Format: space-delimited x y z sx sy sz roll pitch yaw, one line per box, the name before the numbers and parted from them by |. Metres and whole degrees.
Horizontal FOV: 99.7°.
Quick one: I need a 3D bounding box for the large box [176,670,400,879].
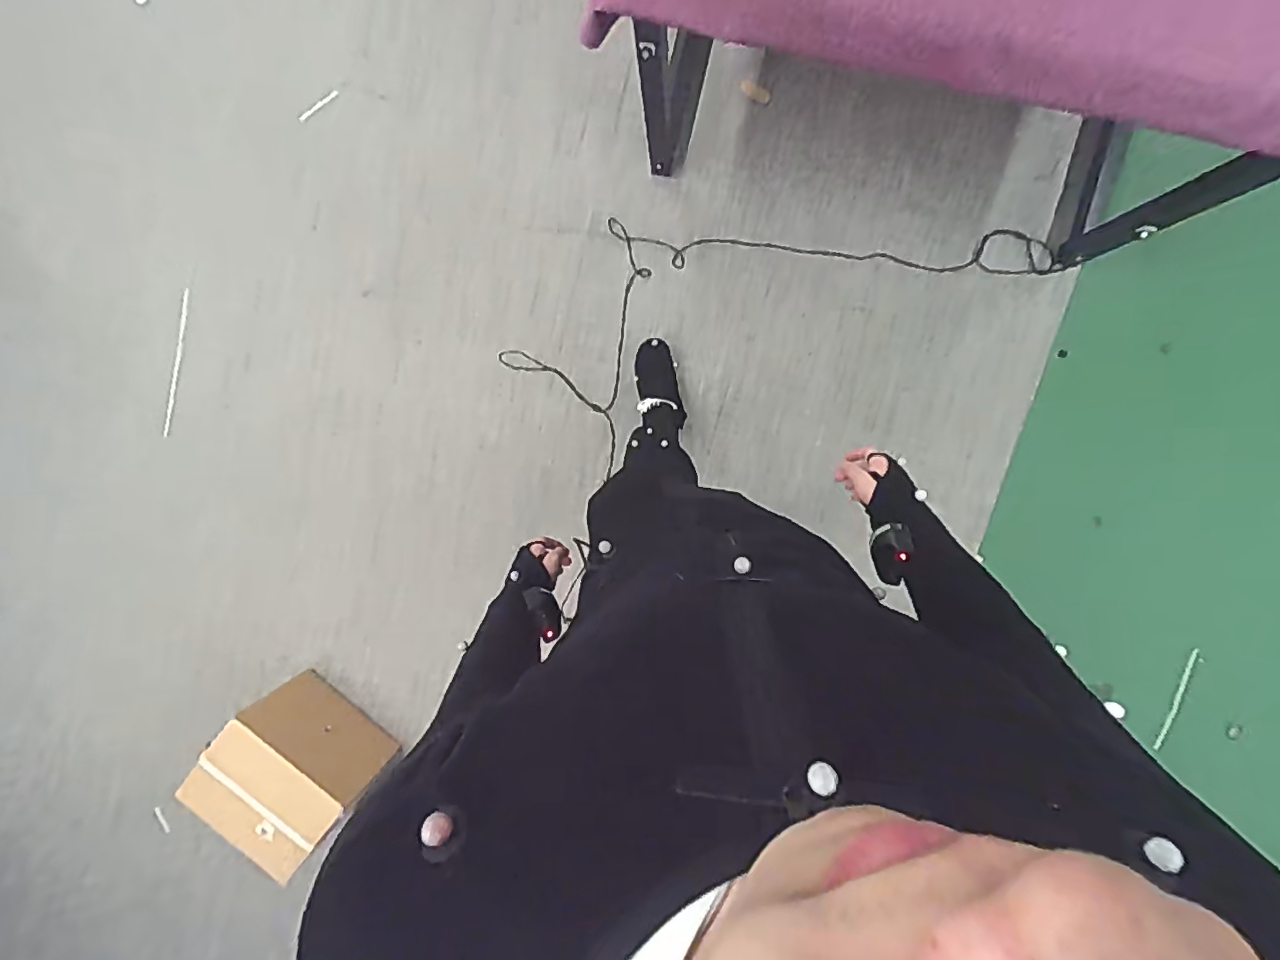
large box | -1.034 0.862 1.632 0.408 0.320 0.320 39 98 -1
